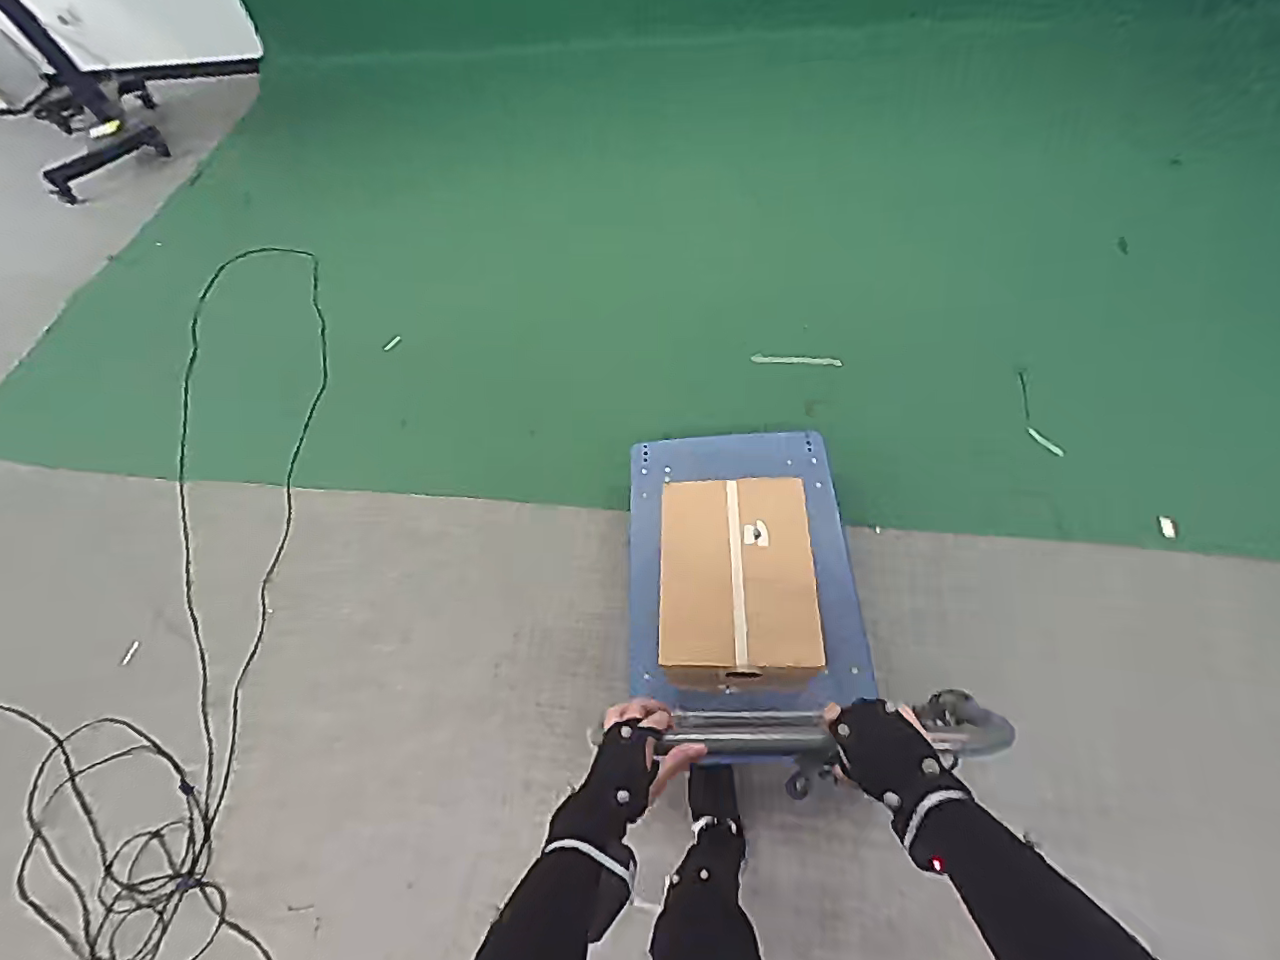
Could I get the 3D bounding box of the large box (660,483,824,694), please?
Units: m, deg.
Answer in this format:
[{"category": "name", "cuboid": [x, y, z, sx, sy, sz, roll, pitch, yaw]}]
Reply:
[{"category": "large box", "cuboid": [0.218, 0.260, 1.249, 0.320, 0.320, 0.408, -1, 60, 7]}]
